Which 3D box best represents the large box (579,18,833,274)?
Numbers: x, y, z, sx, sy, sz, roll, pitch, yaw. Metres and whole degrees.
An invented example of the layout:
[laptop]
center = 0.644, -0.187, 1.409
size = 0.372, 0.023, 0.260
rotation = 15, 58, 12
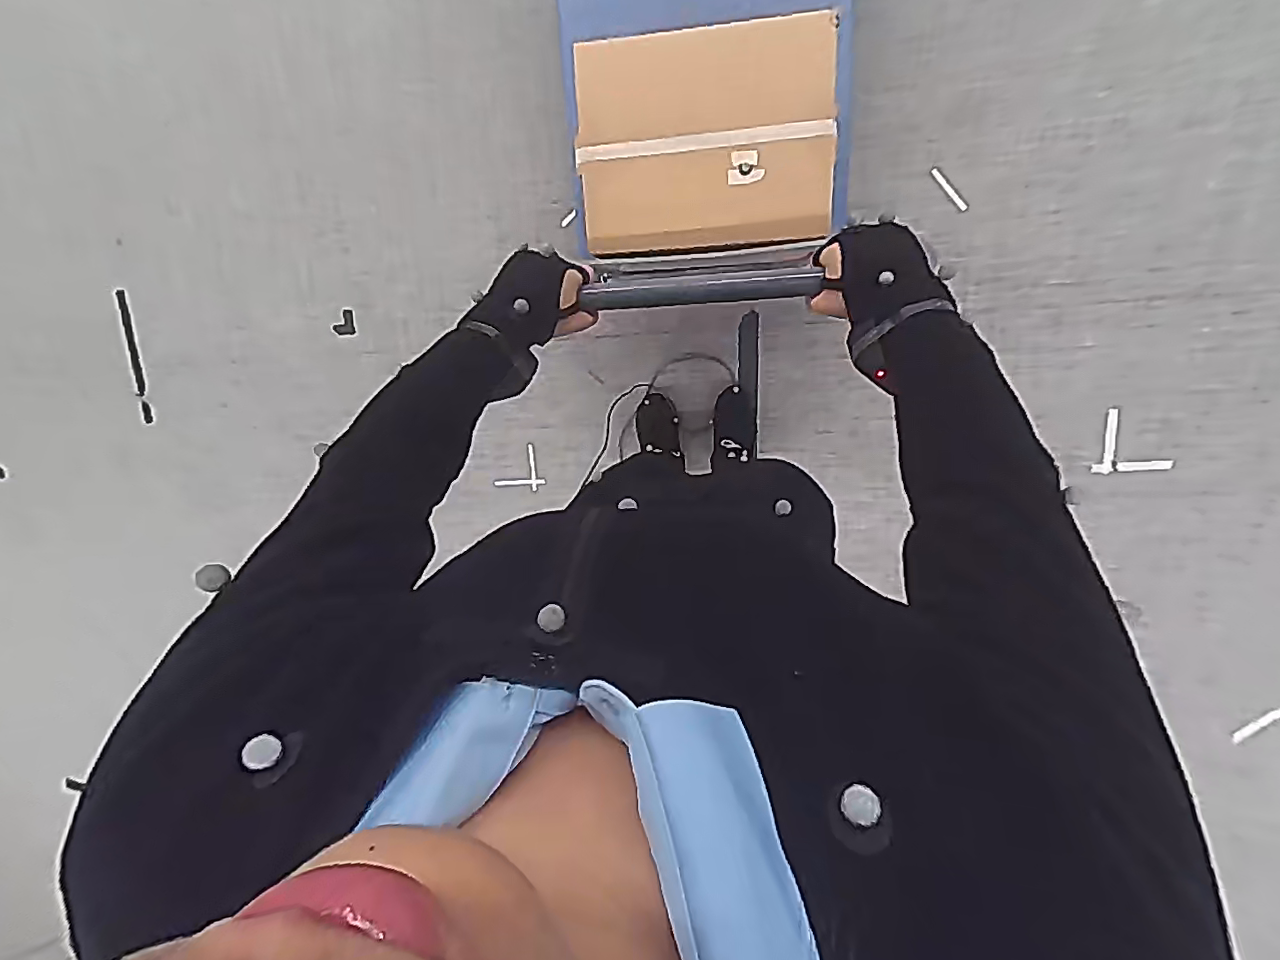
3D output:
[large box]
center = 0.123, -0.584, 1.025
size = 0.408, 0.320, 0.320
rotation = -1, 106, 7
